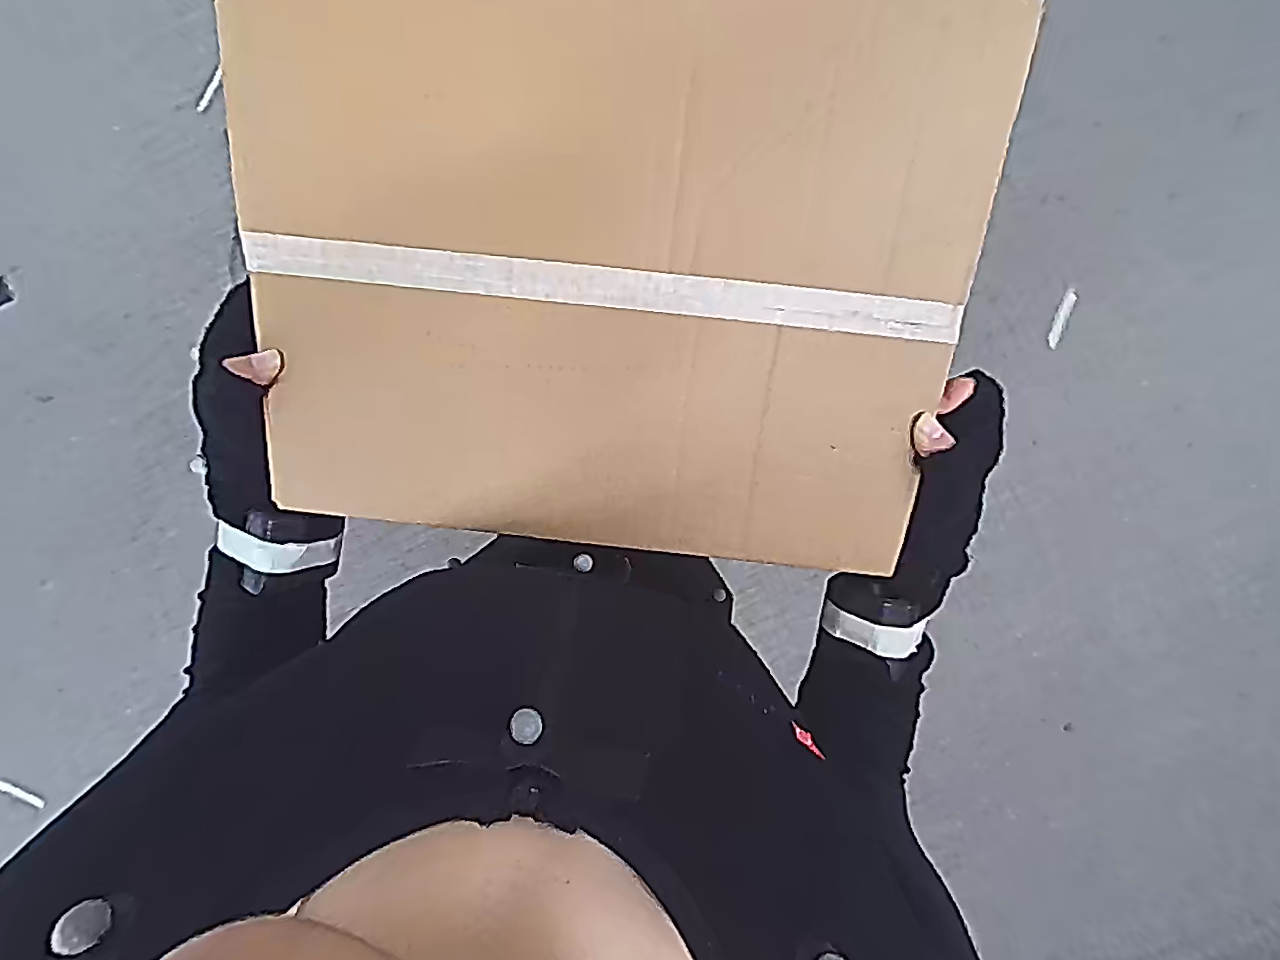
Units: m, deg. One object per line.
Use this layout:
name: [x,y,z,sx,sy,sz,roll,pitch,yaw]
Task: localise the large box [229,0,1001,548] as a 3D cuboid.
large box: [-0.023,-0.158,0.457,0.408,0.320,0.320,5,108,0]
